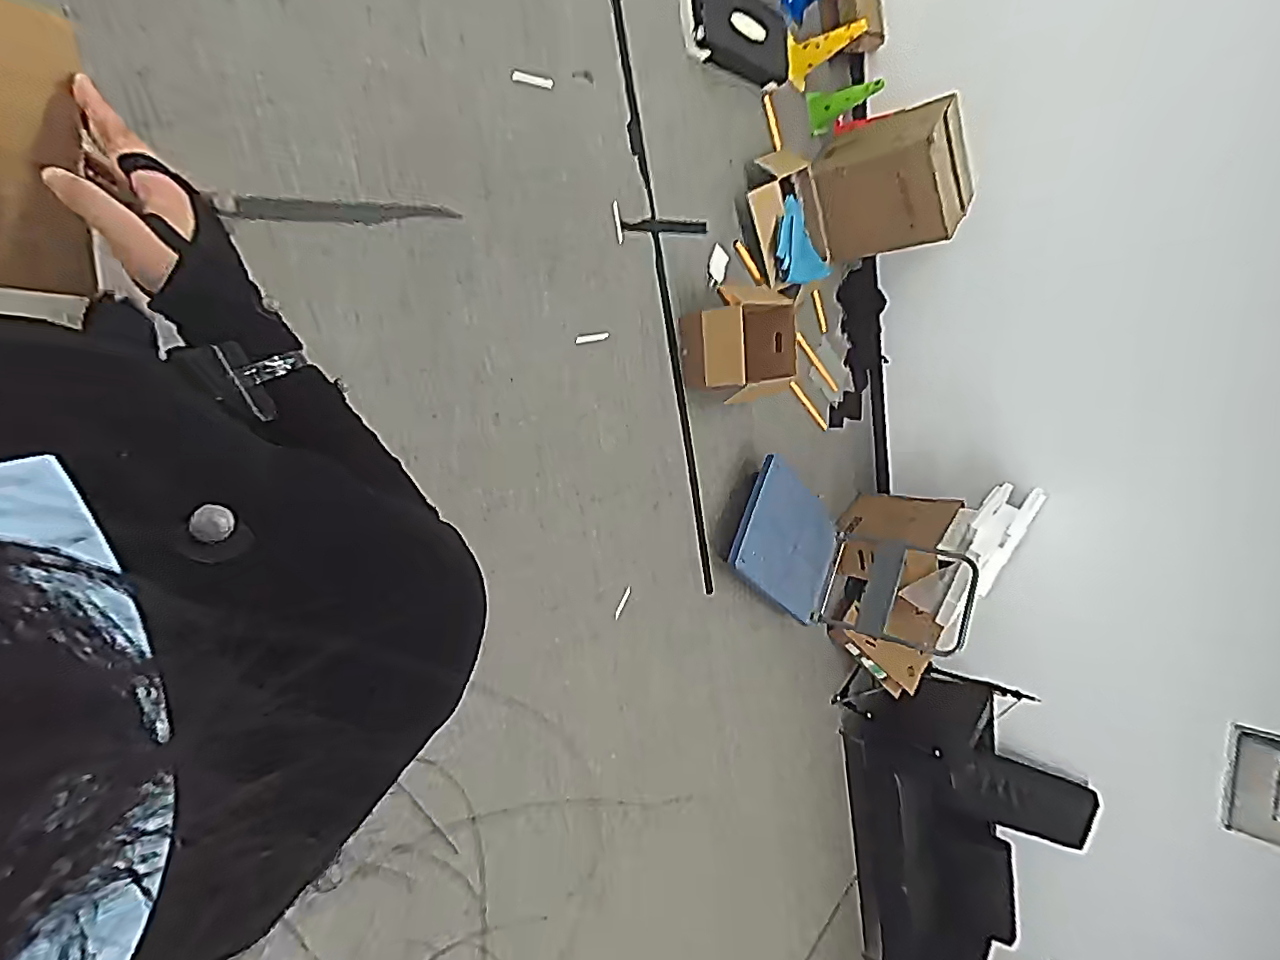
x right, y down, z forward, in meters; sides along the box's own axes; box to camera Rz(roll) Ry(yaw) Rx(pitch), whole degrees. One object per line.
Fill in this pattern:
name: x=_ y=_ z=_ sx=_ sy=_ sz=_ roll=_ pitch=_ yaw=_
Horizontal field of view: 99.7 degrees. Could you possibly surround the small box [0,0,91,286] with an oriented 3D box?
small box: x=-0.487 y=-0.249 z=0.355 sx=0.168 sy=0.176 sz=0.179 roll=-8 pitch=123 yaw=-47
